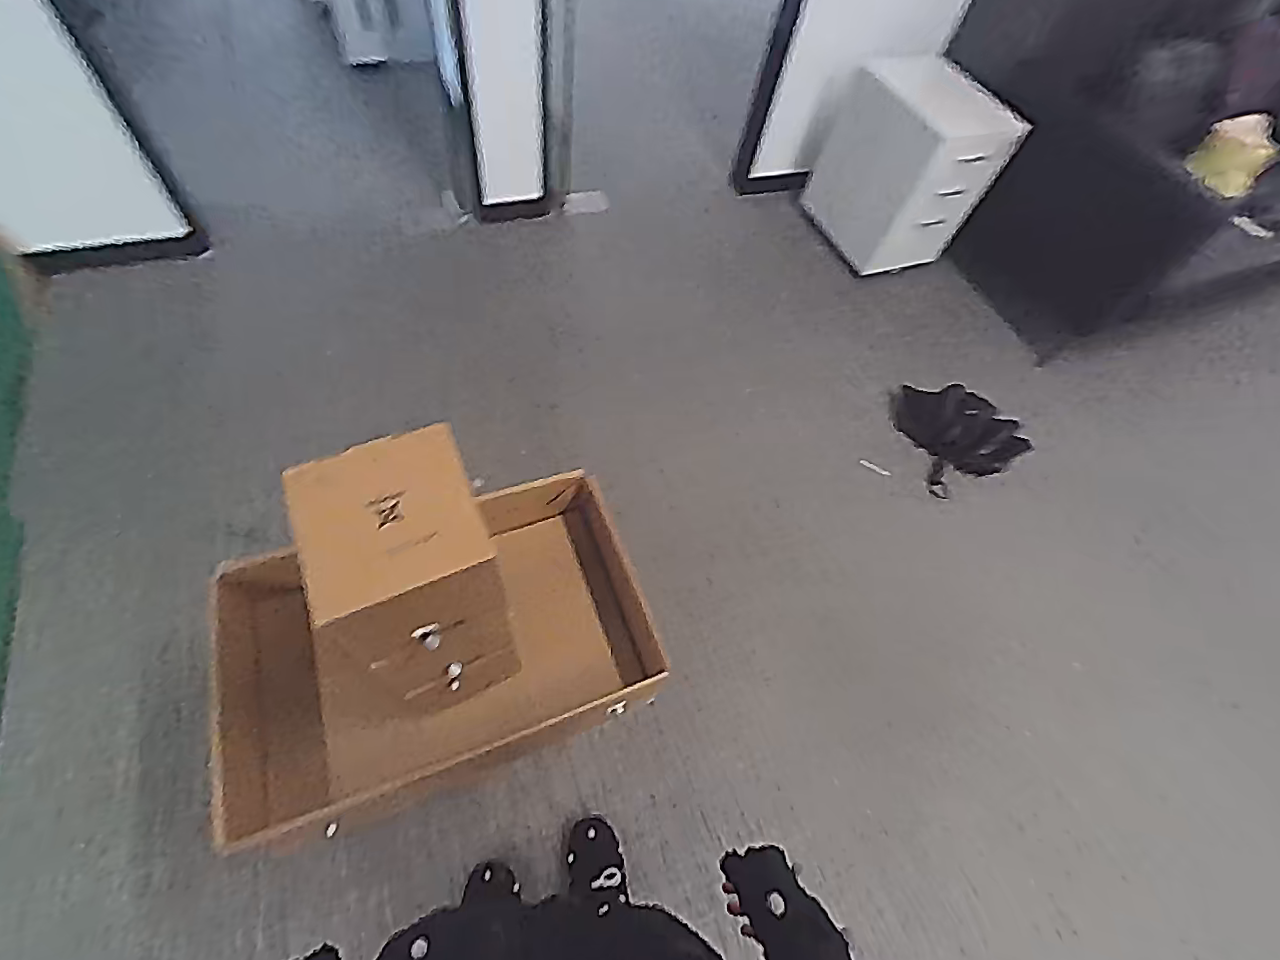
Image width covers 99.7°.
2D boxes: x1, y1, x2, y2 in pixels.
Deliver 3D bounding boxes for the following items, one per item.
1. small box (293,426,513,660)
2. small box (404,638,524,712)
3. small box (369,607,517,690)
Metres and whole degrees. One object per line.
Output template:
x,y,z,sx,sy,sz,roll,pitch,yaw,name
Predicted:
-0.252,0.075,0.605,0.168,0.176,0.179,-21,65,-18,small box
-0.298,0.248,0.877,0.168,0.176,0.179,-22,63,-19,small box
-0.278,0.160,0.740,0.168,0.176,0.179,-21,64,-19,small box
